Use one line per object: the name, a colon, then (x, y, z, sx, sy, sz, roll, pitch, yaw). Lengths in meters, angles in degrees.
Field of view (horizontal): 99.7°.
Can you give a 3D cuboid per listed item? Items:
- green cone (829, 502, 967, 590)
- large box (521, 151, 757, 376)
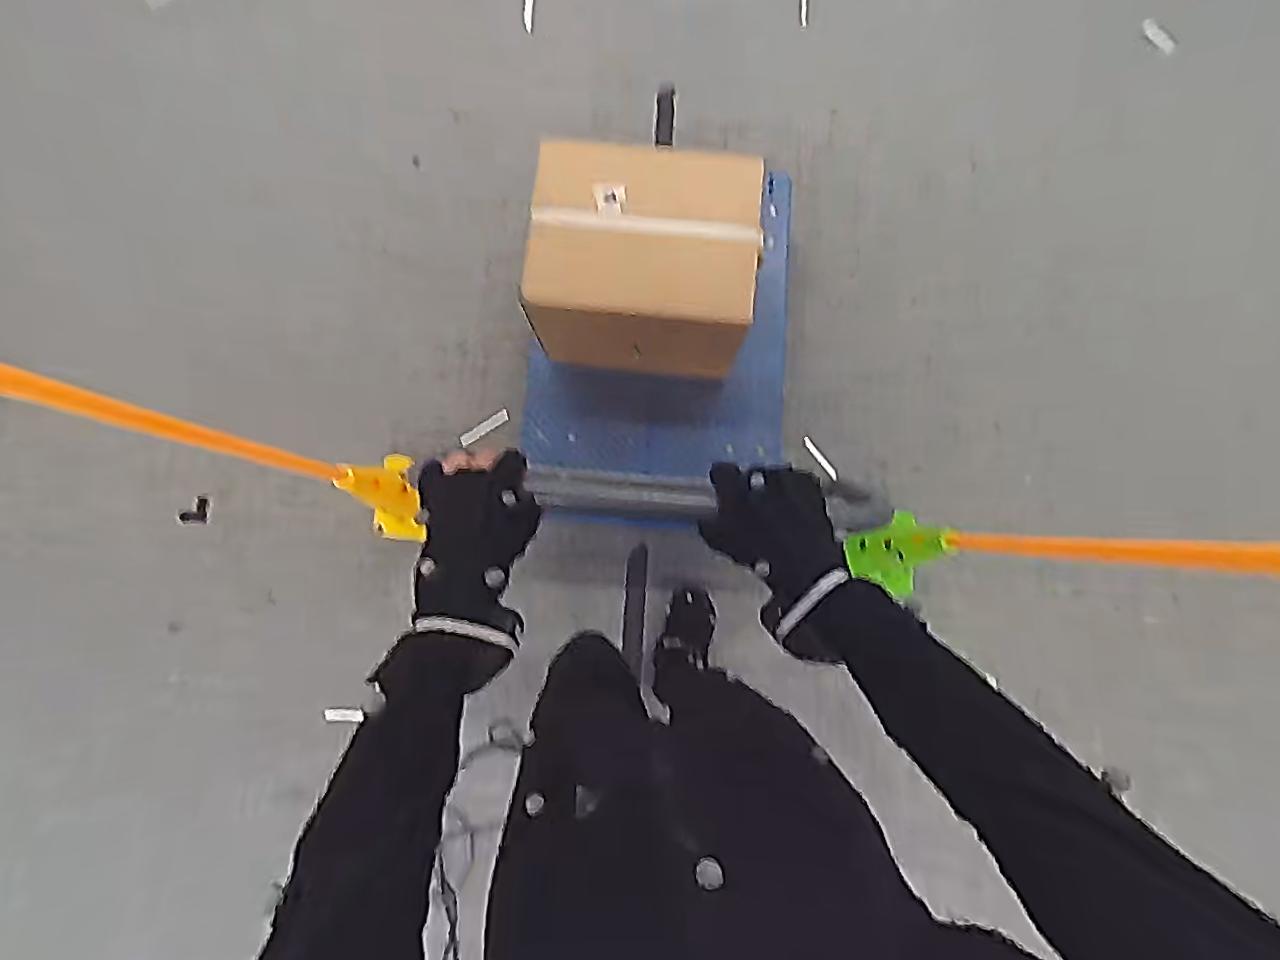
green cone: (0.569, 0.135, 1.156, 0.202, 0.368, 0.200, 7, 82, 1)
large box: (0.006, -0.414, 1.102, 0.408, 0.320, 0.320, 6, 82, 2)
